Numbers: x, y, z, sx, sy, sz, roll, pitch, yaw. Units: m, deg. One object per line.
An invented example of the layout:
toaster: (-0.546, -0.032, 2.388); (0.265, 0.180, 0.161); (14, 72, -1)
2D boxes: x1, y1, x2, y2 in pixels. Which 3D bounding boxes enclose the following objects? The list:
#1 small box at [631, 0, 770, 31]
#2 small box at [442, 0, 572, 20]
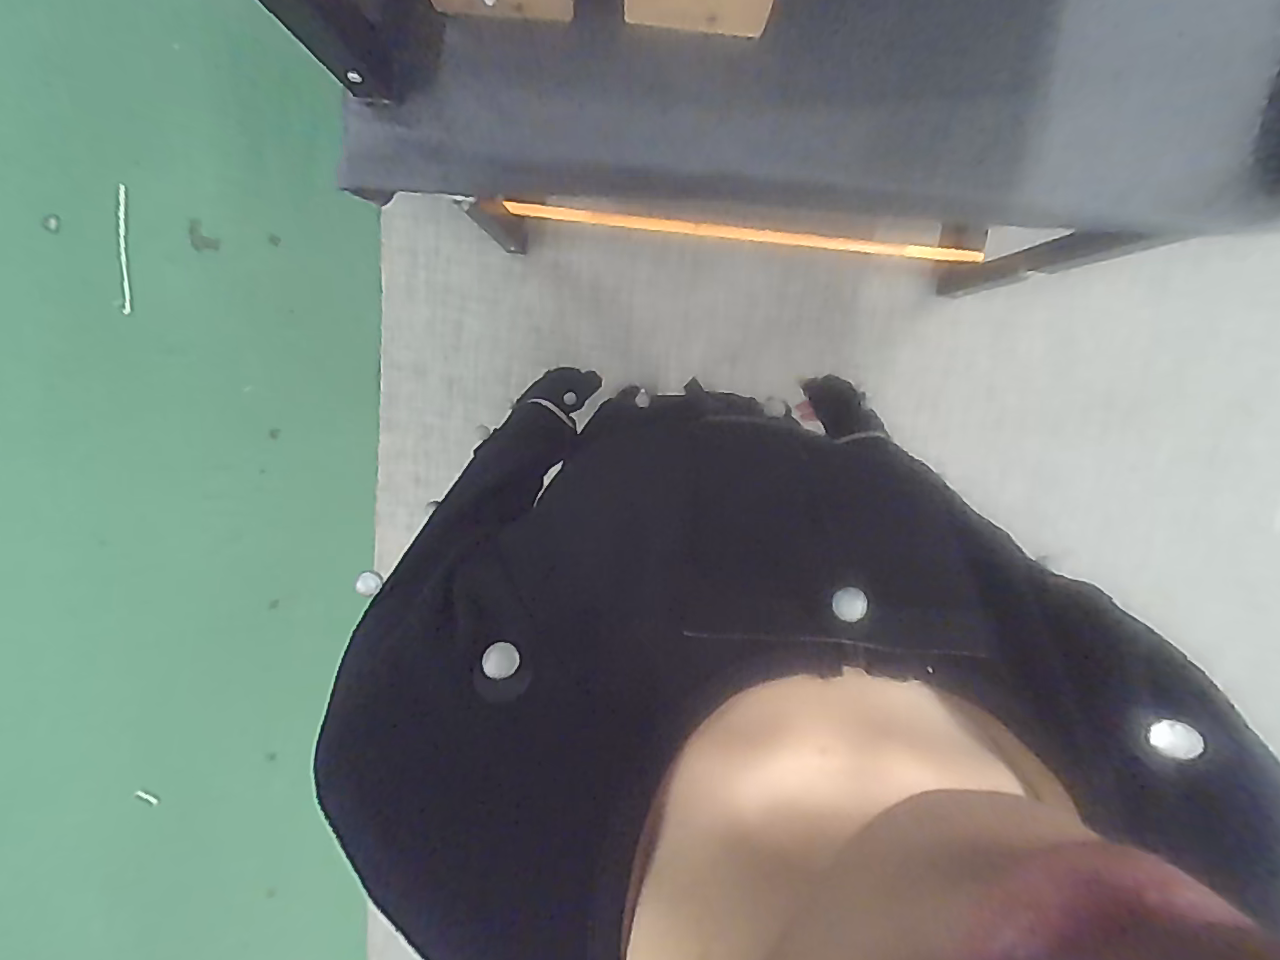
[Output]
small box: (0.071, -0.607, 0.550); (0.168, 0.176, 0.179); (5, 99, -1)
small box: (-0.155, -0.623, 0.545); (0.168, 0.176, 0.179); (3, 100, -1)
